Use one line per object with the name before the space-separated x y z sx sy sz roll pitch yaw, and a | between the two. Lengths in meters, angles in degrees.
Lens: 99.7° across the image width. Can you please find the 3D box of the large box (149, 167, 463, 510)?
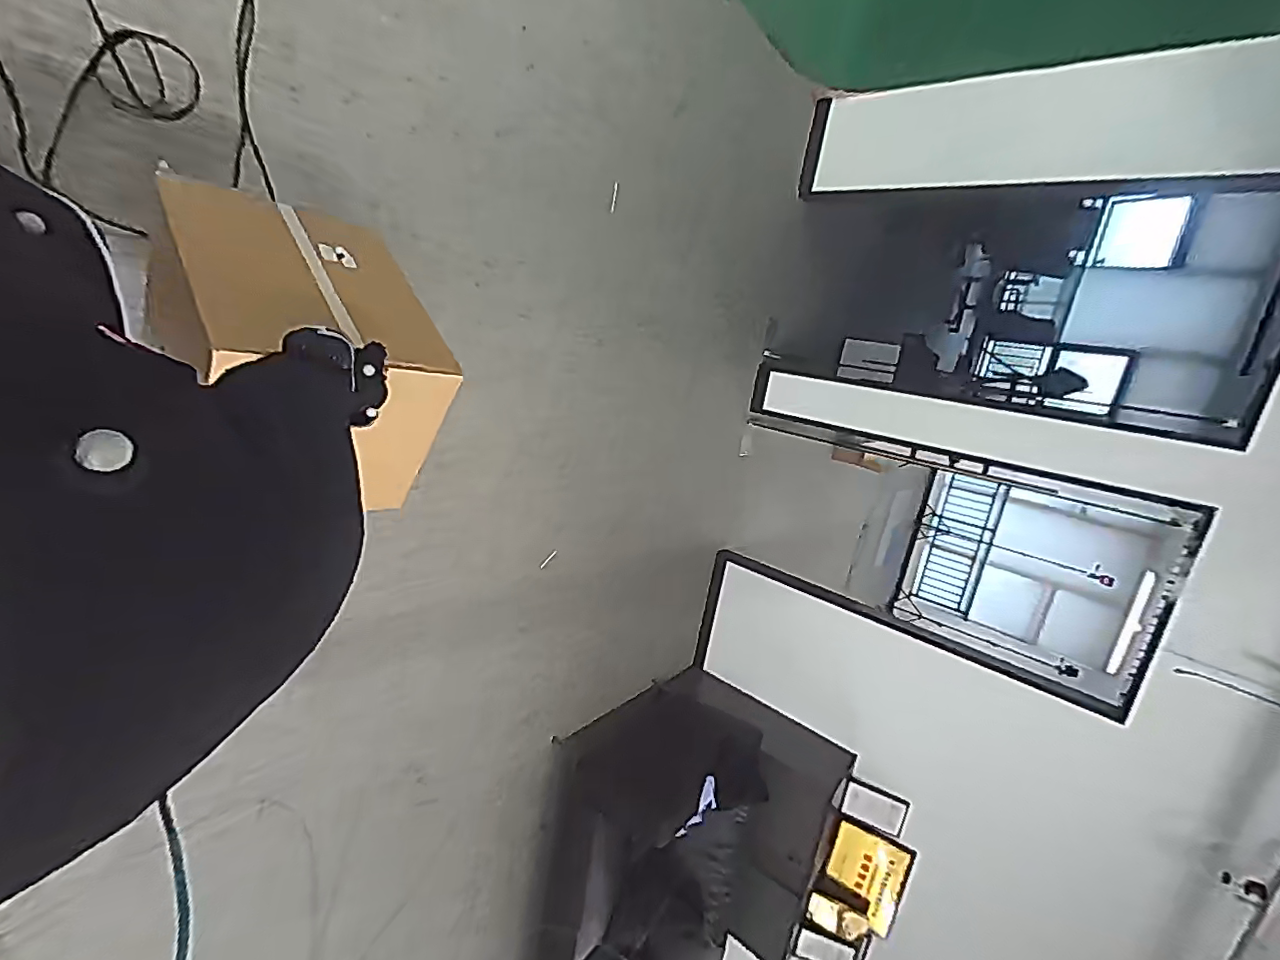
large box | -0.556 -0.208 0.879 0.320 0.408 0.320 -4 141 -50
